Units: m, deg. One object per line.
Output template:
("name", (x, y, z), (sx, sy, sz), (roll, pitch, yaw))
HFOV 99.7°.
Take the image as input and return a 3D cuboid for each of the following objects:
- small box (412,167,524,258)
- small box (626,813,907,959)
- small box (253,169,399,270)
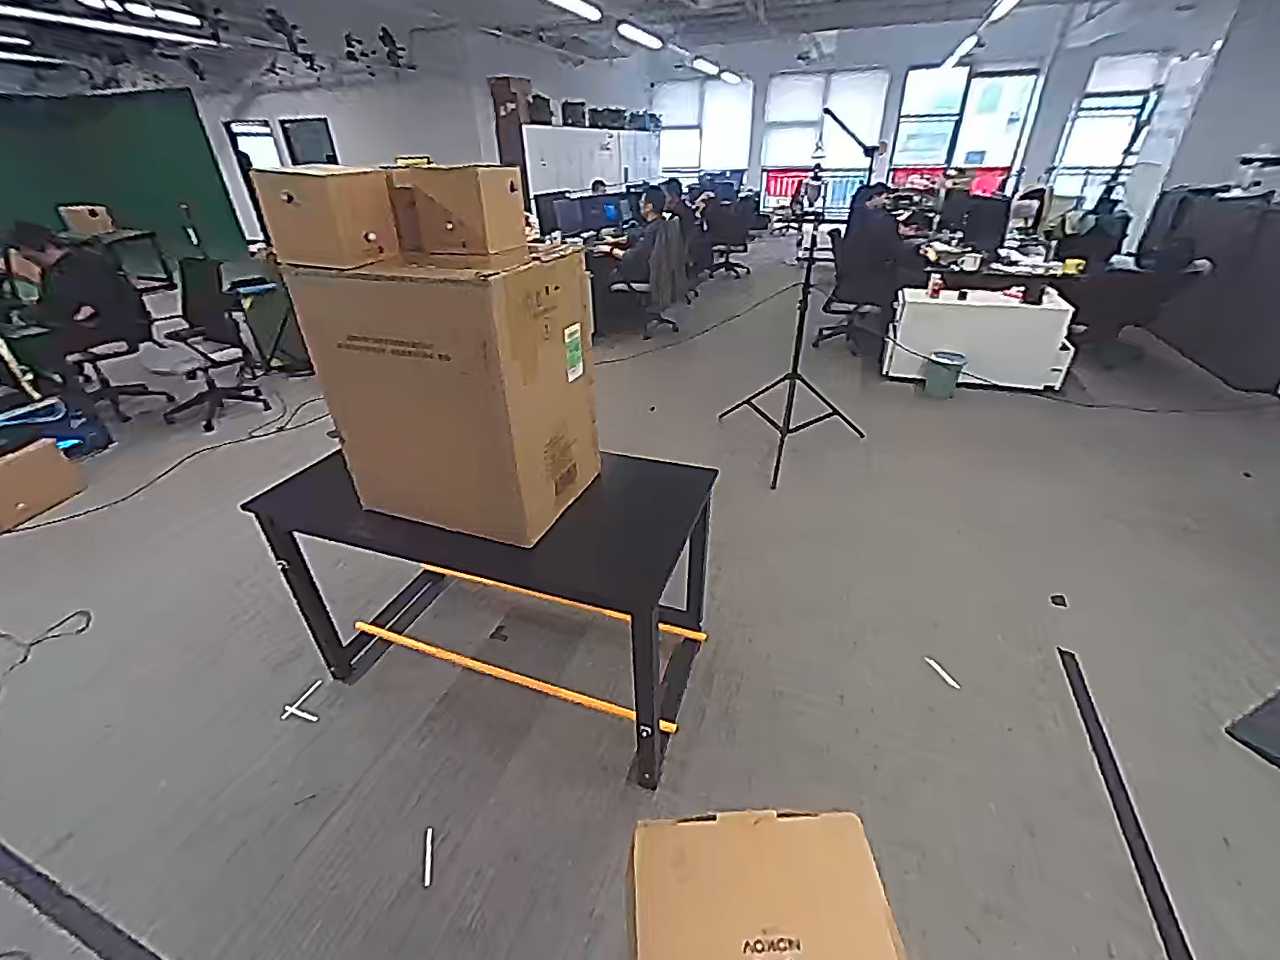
("small box", (-0.372, -0.600, 1.208), (0.168, 0.176, 0.179), (8, 31, 17))
("small box", (0.077, 0.356, 0.366), (0.168, 0.176, 0.179), (-1, 40, -4))
("small box", (-0.631, -0.534, 1.107), (0.179, 0.176, 0.168), (11, 35, 14))
